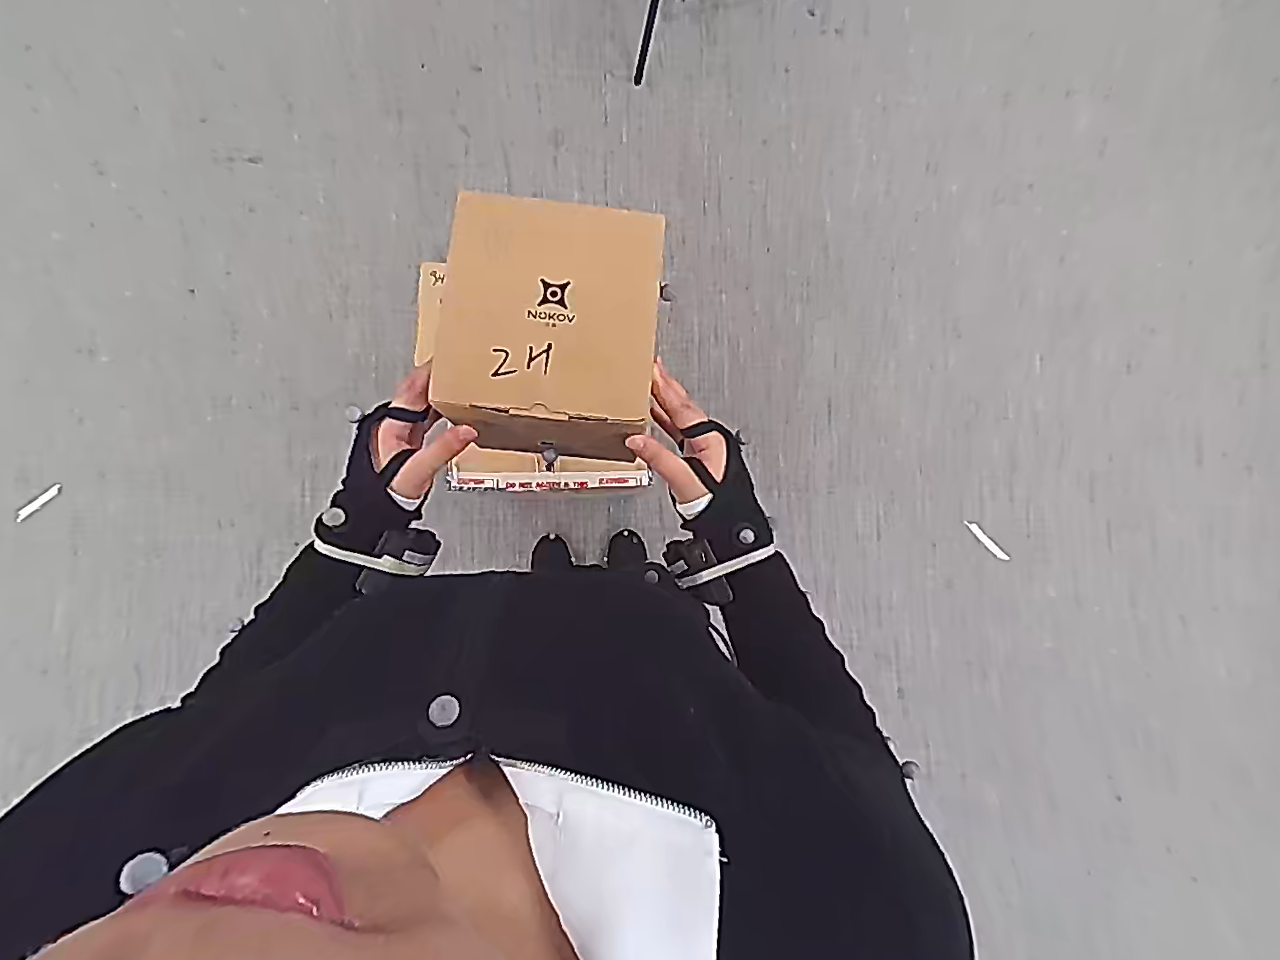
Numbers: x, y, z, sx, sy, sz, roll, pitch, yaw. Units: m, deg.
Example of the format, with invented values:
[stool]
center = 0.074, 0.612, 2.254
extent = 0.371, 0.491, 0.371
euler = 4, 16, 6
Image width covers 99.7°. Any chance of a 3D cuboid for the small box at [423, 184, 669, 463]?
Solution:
[small box]
center = -0.073, -0.121, 0.482
extent = 0.168, 0.176, 0.179
euler = 6, 82, -3
